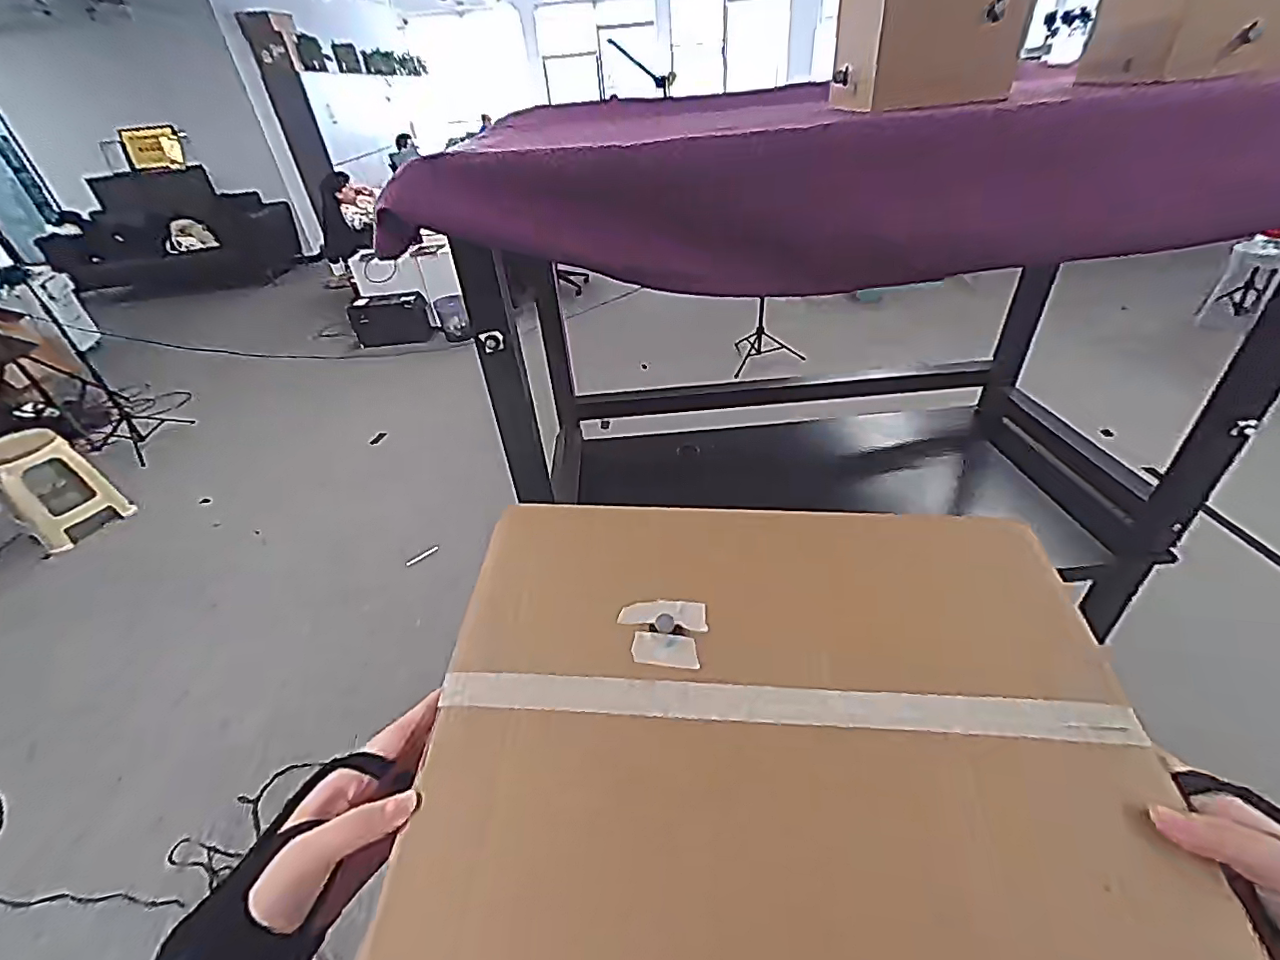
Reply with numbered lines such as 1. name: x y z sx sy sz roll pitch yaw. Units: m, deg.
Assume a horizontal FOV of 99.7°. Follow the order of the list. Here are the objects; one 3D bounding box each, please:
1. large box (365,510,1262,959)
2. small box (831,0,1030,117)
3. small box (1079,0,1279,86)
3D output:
1. large box: 0.088 0.237 0.423 0.408 0.320 0.320 1 45 6
2. small box: 0.361 -0.574 0.687 0.179 0.176 0.168 -5 35 1
3. small box: 0.715 -0.607 0.678 0.179 0.176 0.168 -4 35 2
